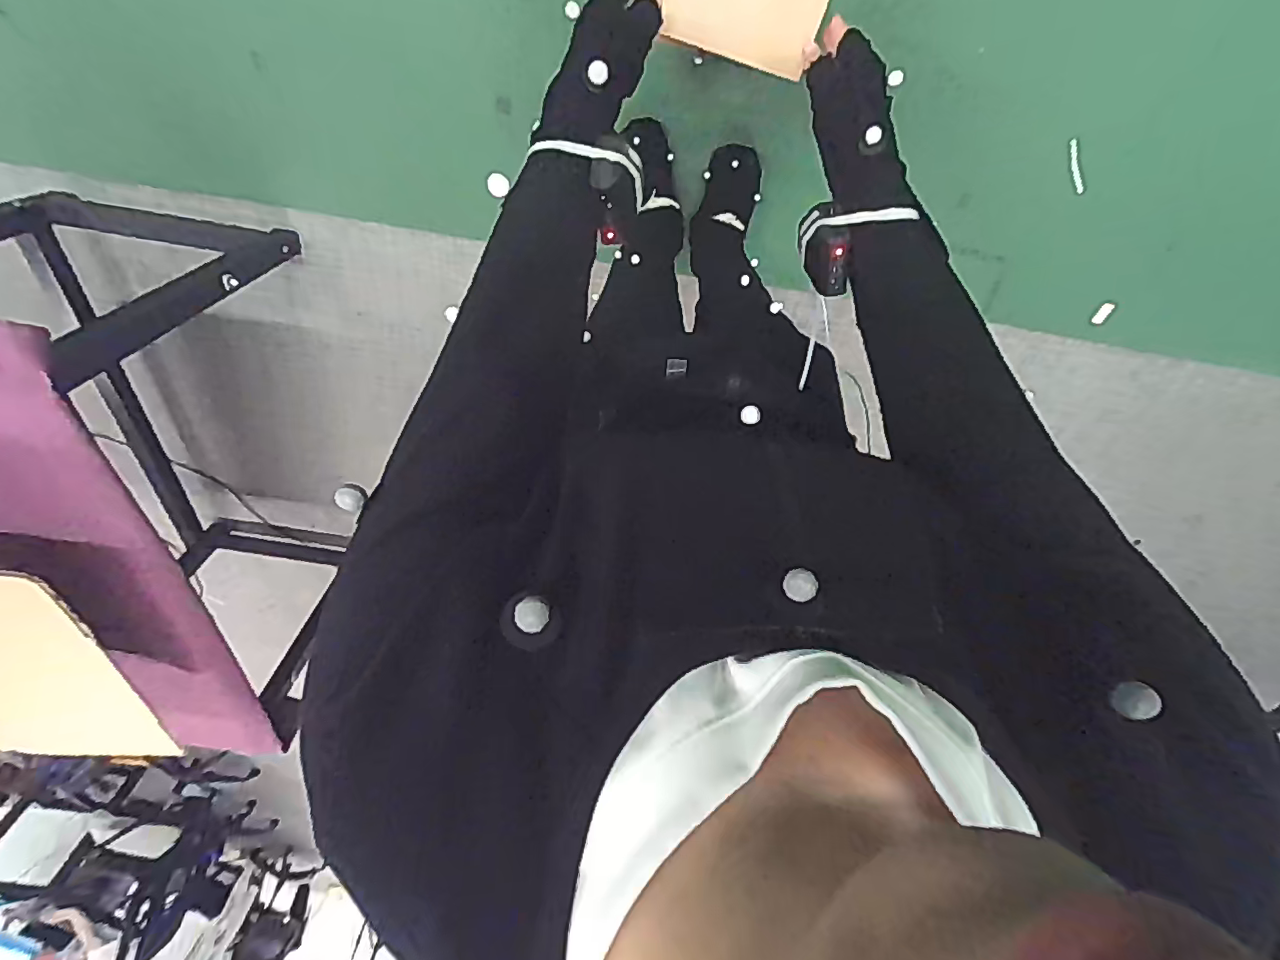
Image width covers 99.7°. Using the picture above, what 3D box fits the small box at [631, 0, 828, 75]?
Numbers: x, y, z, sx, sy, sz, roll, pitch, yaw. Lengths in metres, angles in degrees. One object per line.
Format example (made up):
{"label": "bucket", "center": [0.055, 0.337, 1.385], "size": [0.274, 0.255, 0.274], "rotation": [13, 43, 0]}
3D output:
{"label": "small box", "center": [0.100, -0.524, 0.533], "size": [0.179, 0.176, 0.168], "rotation": [12, 130, -4]}
